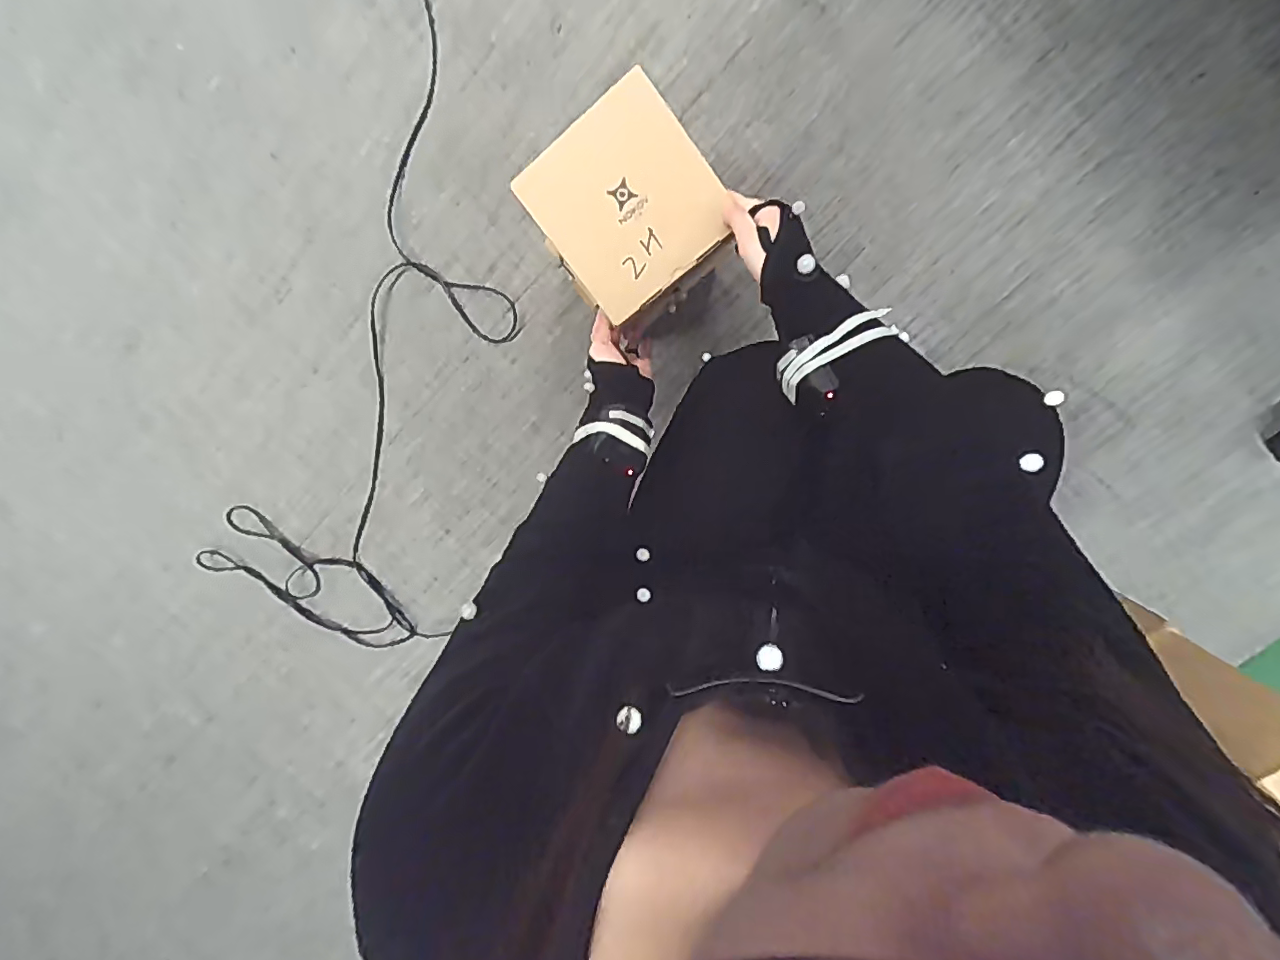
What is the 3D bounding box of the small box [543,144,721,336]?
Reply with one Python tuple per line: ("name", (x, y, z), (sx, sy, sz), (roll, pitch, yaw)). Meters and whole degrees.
("small box", (-0.007, -0.323, 0.774), (0.179, 0.176, 0.168), (-40, 99, 10))
